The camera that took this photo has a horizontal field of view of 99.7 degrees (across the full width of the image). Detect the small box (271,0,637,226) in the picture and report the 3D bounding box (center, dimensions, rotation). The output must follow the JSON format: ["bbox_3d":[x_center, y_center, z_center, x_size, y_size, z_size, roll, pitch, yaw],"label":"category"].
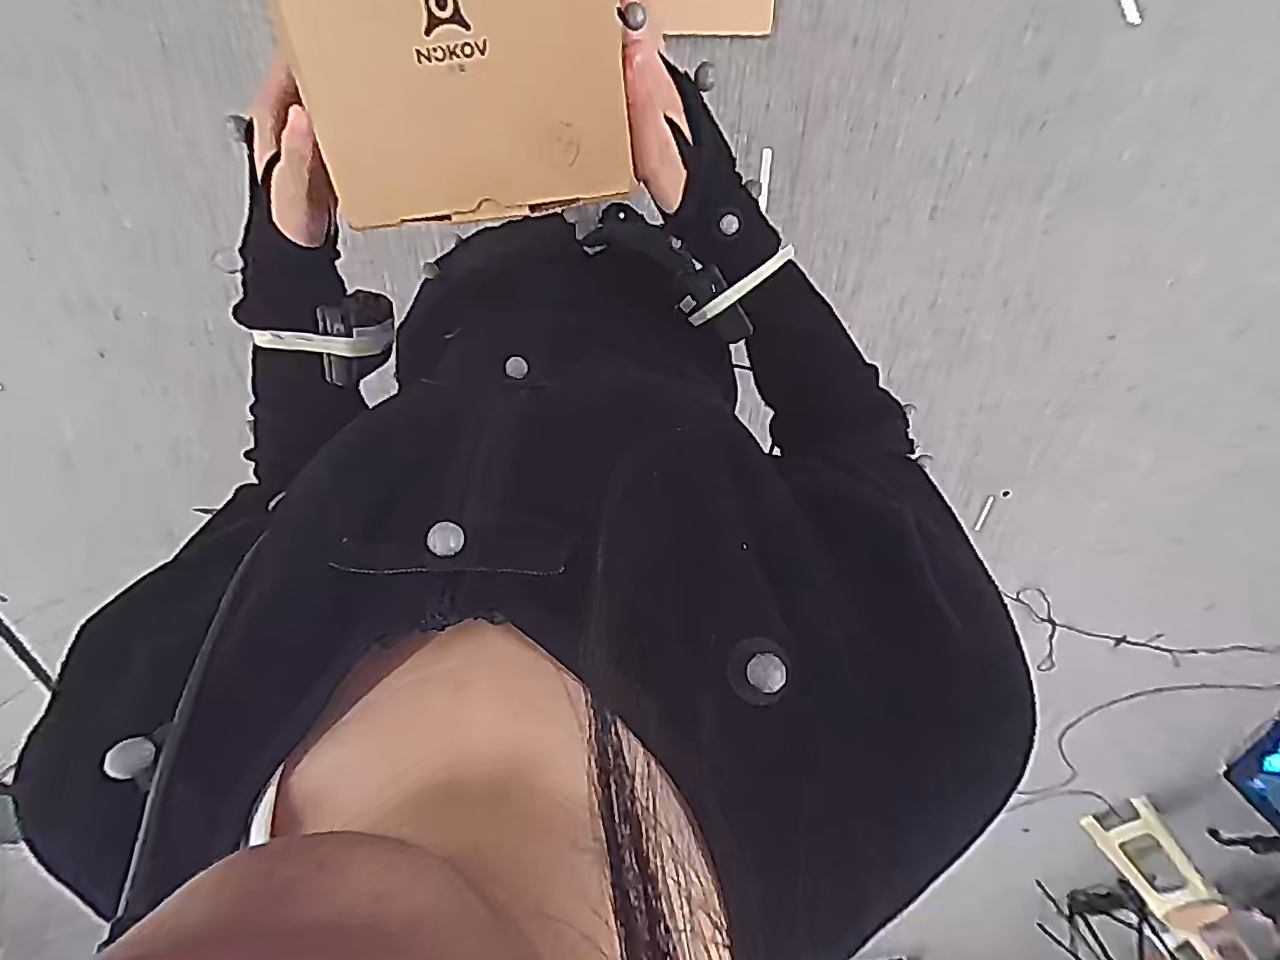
[{"bbox_3d":[-0.092,-0.267,0.325,0.168,0.176,0.179,-6,121,3],"label":"small box"}]

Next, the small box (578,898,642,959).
[{"bbox_3d":[-0.087,1.289,1.500,0.168,0.176,0.179,1,122,-5],"label":"small box"}]
